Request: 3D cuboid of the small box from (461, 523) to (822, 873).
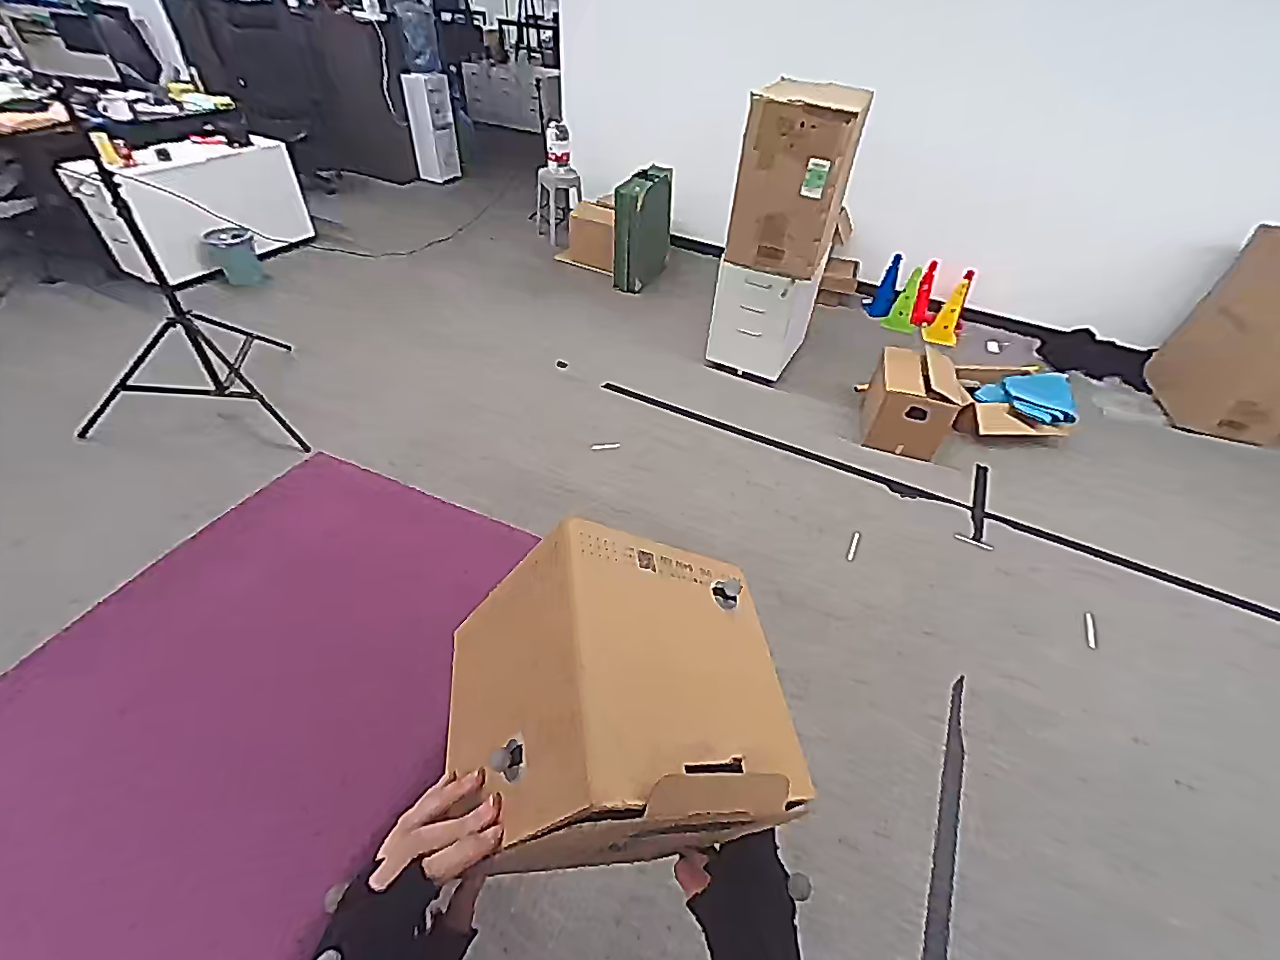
[{"bbox_3d":[-0.013,0.155,0.385,0.168,0.179,0.176,21,40,-33],"label":"small box"}]
